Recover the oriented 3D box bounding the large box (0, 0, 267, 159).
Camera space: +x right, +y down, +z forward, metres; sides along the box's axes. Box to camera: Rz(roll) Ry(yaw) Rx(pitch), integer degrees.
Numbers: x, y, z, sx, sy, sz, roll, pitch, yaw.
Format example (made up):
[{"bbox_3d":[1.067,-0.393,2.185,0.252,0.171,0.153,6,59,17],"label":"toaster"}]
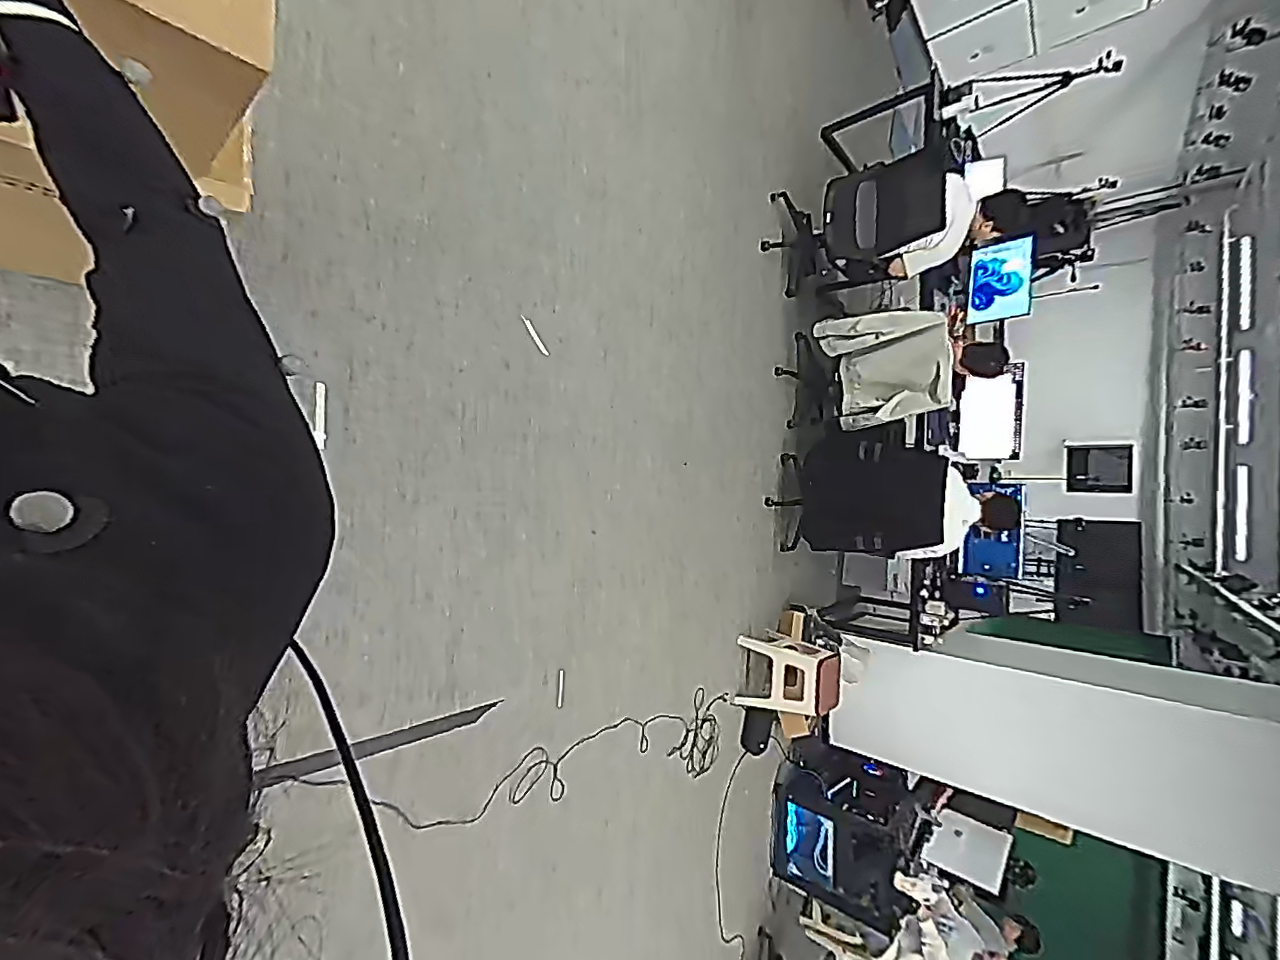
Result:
[{"bbox_3d":[-0.626,-0.585,0.495,0.408,0.320,0.320,1,91,-51],"label":"large box"}]
